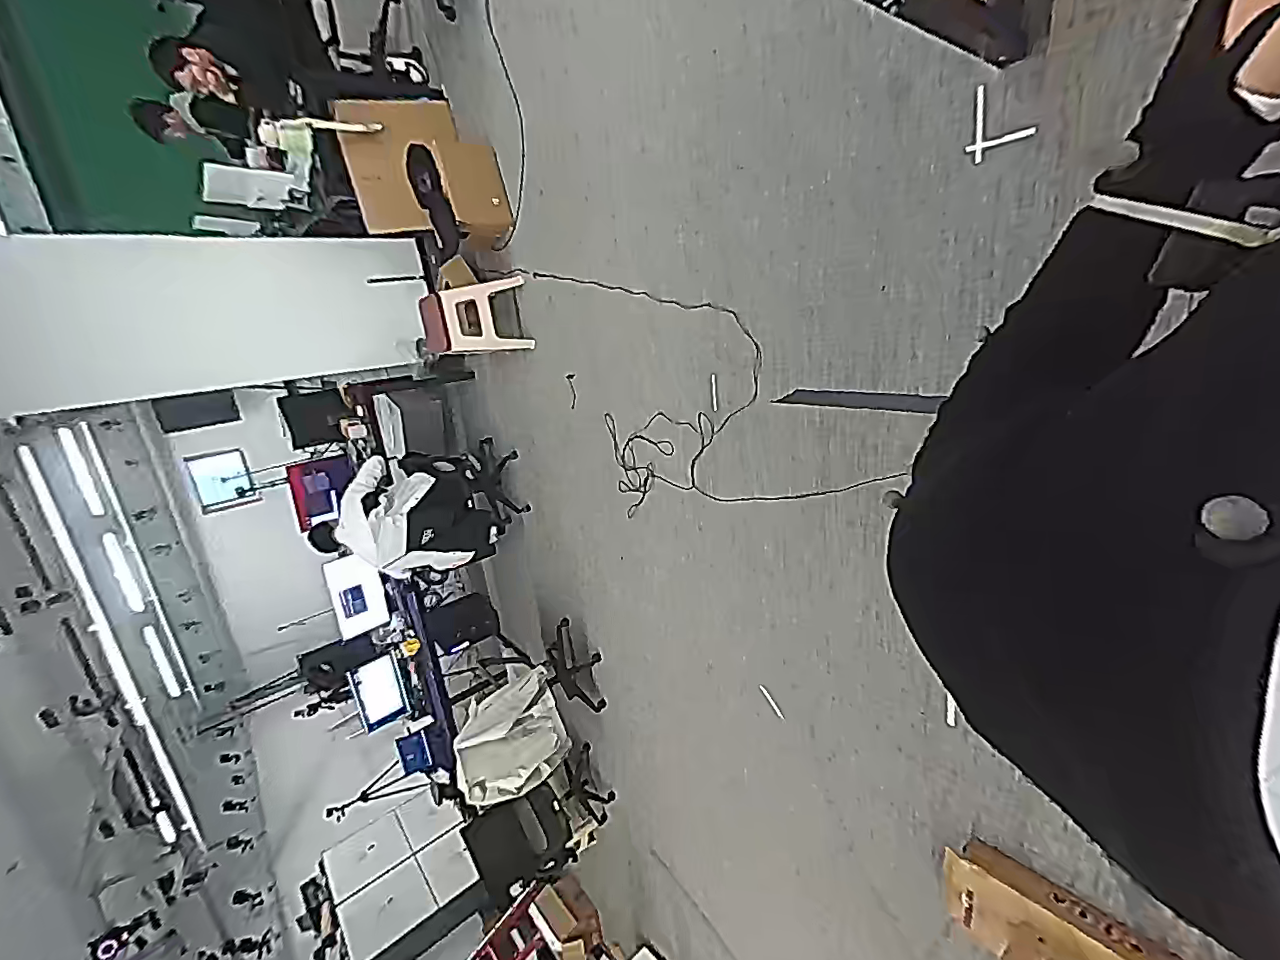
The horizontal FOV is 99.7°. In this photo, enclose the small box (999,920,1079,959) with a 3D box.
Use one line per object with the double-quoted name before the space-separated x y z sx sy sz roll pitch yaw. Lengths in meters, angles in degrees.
"small box" 1.099 1.378 1.482 0.168 0.176 0.179 11 114 50
